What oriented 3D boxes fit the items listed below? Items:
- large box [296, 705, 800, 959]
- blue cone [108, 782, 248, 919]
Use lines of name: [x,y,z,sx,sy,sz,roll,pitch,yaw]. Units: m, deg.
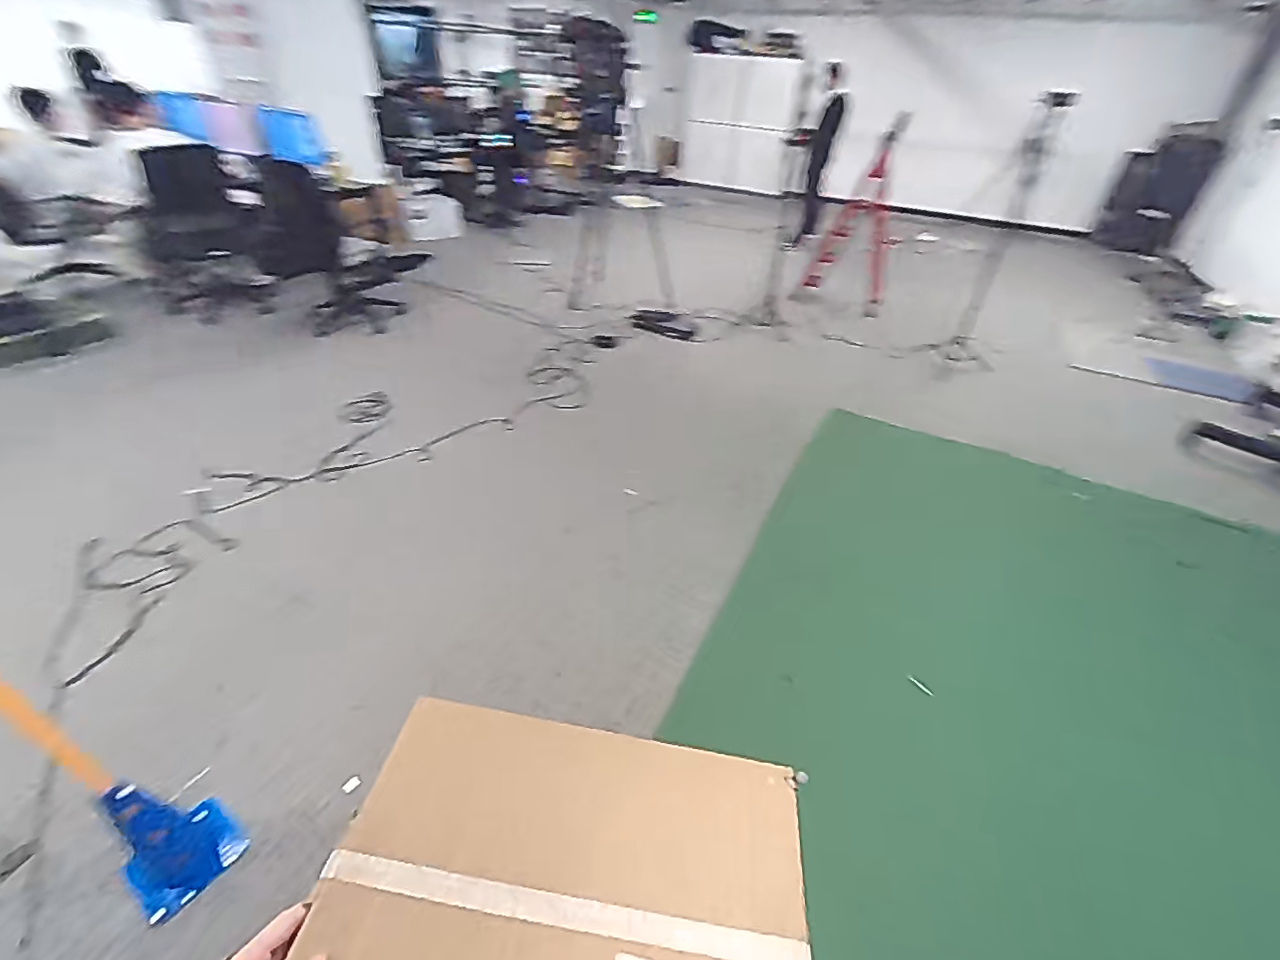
large box: [-0.081,0.478,0.546,0.408,0.320,0.320,10,38,0]
blue cone: [-1.055,0.762,1.186,0.192,0.380,0.193,27,42,26]
